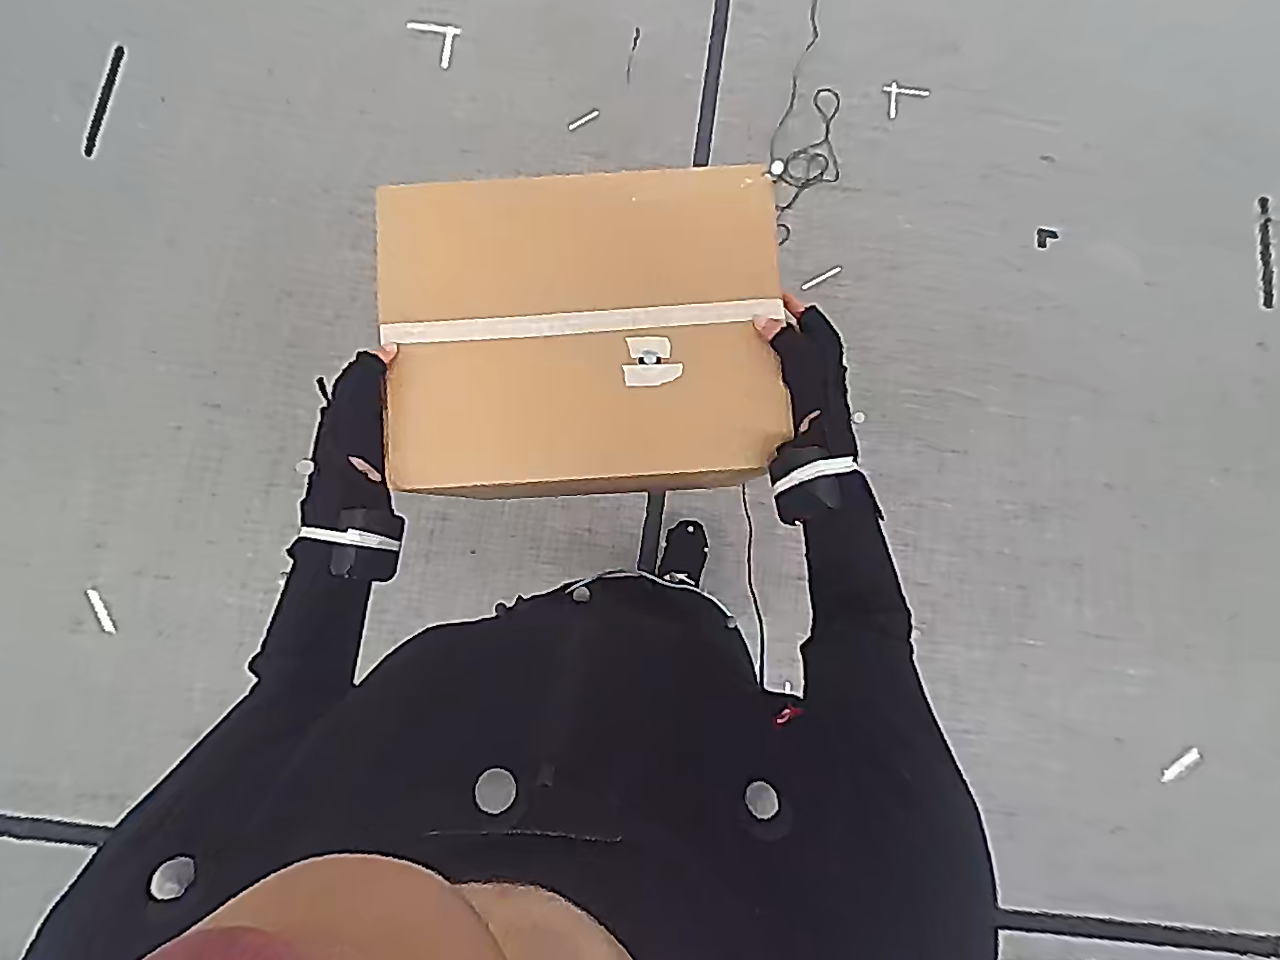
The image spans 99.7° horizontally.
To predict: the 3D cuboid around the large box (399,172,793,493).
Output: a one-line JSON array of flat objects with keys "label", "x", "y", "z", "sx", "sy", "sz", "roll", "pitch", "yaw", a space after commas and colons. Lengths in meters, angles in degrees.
[{"label": "large box", "x": -0.051, "y": -0.154, "z": 0.707, "sx": 0.408, "sy": 0.320, "sz": 0.320, "roll": -2, "pitch": 87, "yaw": -1}]
